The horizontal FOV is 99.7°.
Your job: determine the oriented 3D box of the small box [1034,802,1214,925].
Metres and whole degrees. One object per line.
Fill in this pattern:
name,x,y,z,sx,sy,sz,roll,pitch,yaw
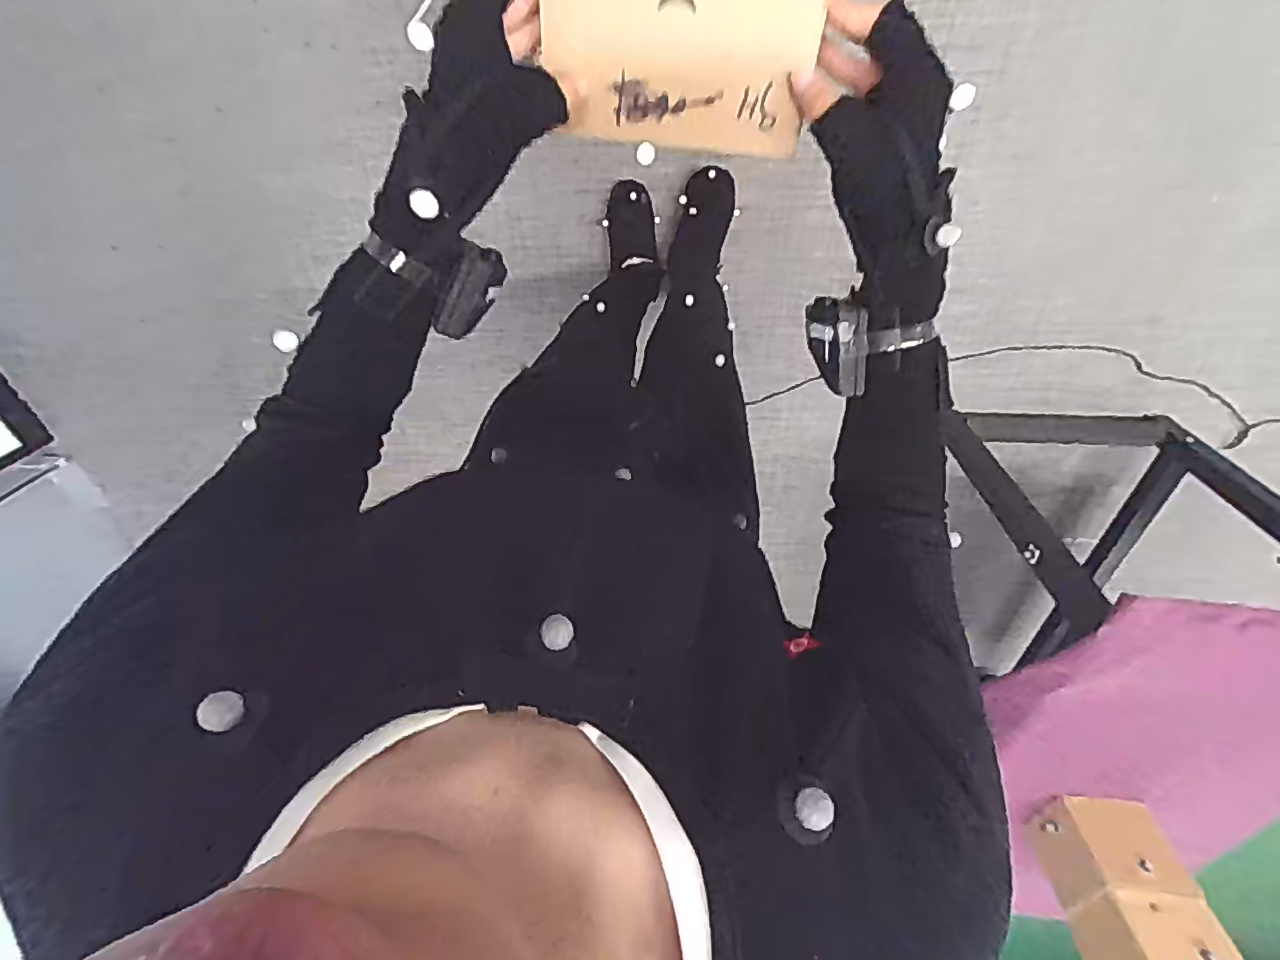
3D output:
small box,0.956,0.778,1.090,0.179,0.176,0.168,6,125,2

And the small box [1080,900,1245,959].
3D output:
small box,0.946,0.878,0.963,0.168,0.176,0.179,4,126,2

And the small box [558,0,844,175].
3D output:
small box,0.046,-0.329,0.366,0.168,0.176,0.179,10,131,6
